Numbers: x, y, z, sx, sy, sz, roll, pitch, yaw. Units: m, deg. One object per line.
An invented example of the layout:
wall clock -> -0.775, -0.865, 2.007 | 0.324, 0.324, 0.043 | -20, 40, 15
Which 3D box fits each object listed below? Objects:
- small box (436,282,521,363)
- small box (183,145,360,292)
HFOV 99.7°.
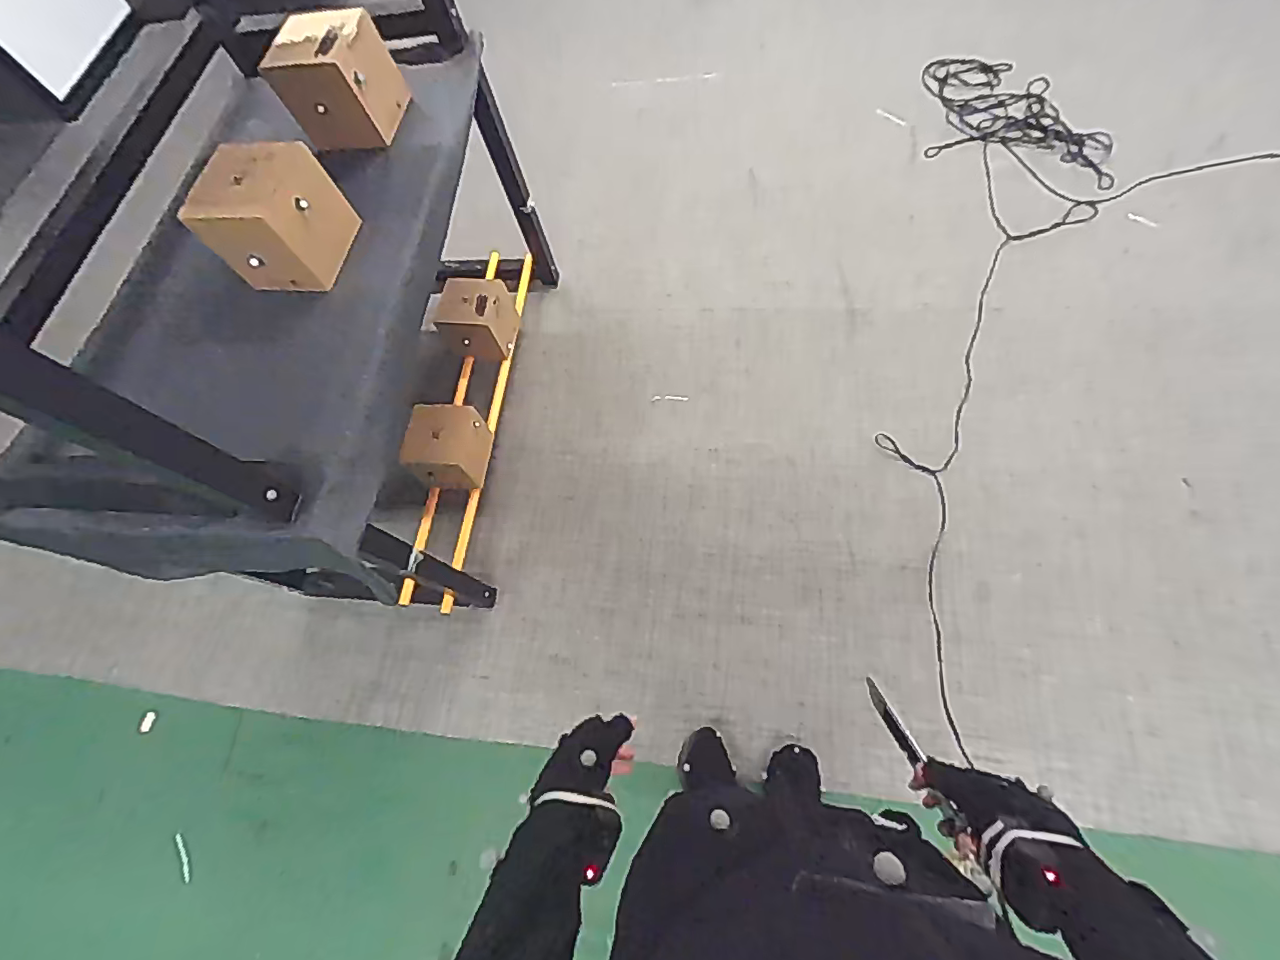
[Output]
small box -> -0.477, -0.470, 1.630 | 0.179, 0.176, 0.168 | 5, 67, 10
small box -> -0.637, -0.456, 0.961 | 0.168, 0.176, 0.179 | 5, 68, 10
